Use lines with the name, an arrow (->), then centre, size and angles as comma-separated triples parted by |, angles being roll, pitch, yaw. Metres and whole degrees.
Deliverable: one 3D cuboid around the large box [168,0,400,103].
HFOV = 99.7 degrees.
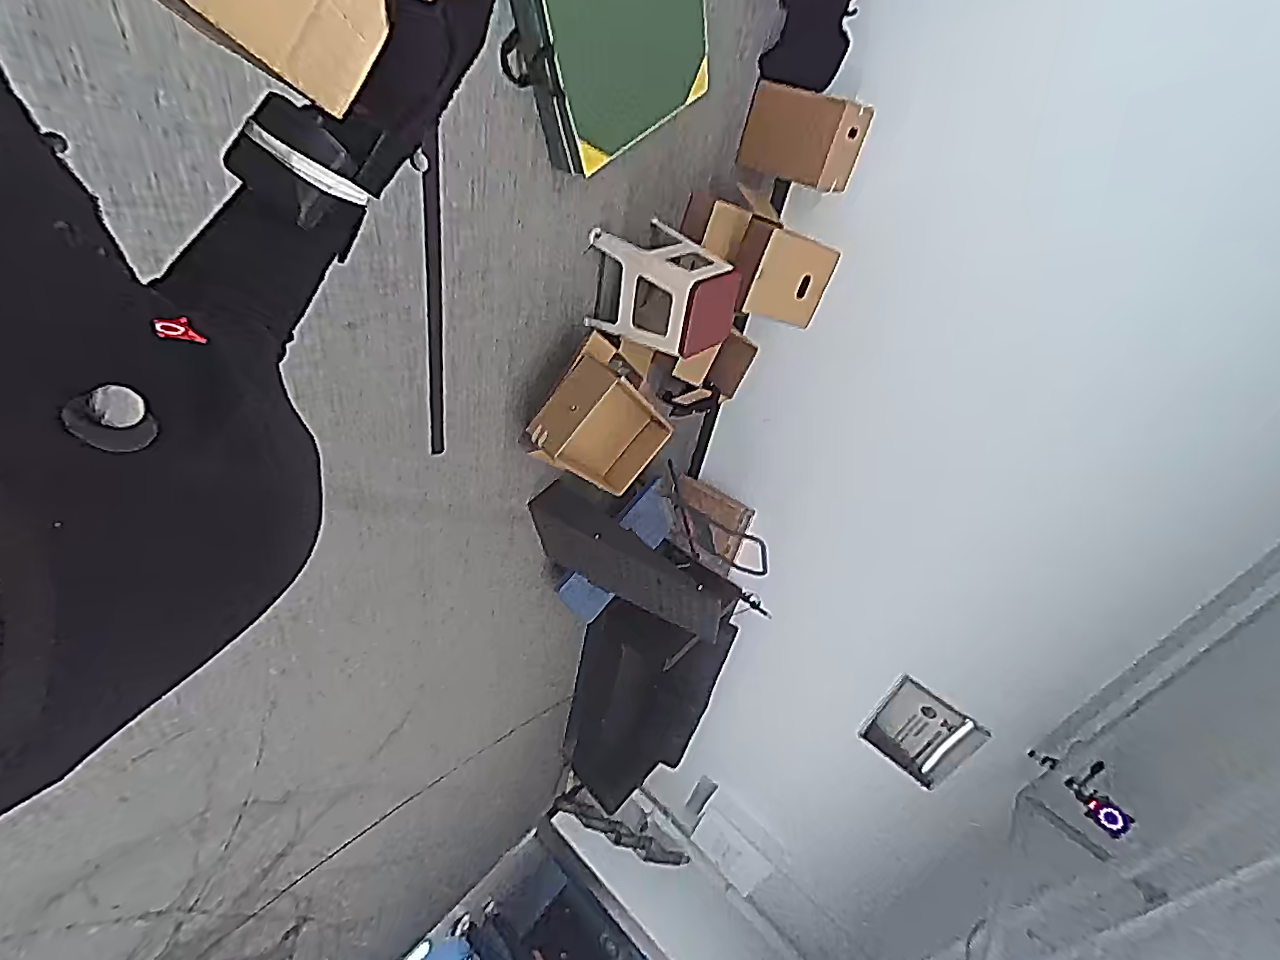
large box -> -0.308, -0.487, 0.242 | 0.320, 0.320, 0.408 | -54, 149, 10
